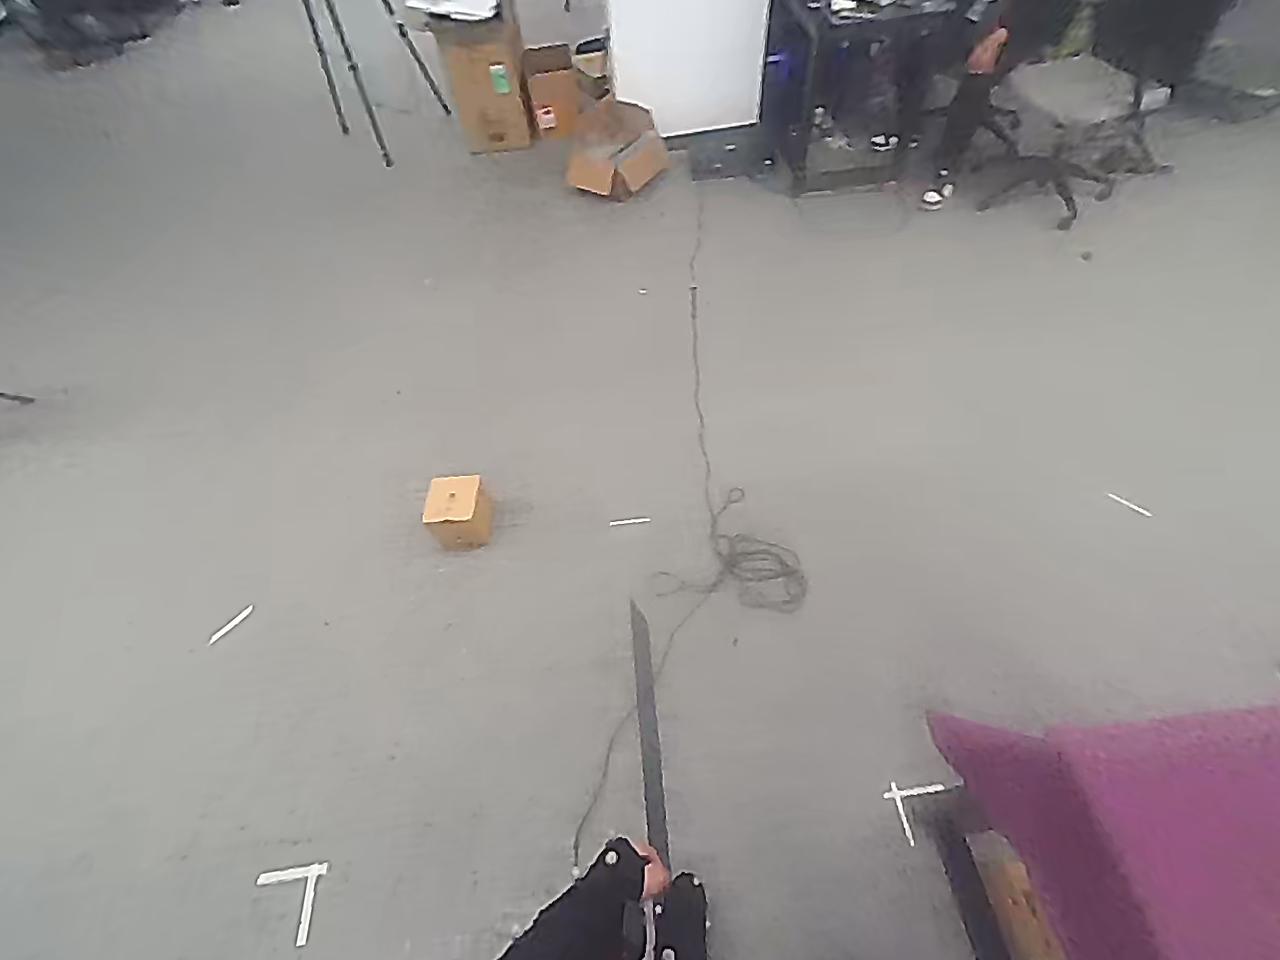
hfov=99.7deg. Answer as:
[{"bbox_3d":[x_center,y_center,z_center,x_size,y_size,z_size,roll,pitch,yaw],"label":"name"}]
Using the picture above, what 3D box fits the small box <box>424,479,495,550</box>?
[{"bbox_3d":[-0.596,0.117,1.814,0.168,0.176,0.179,-4,55,4],"label":"small box"}]
